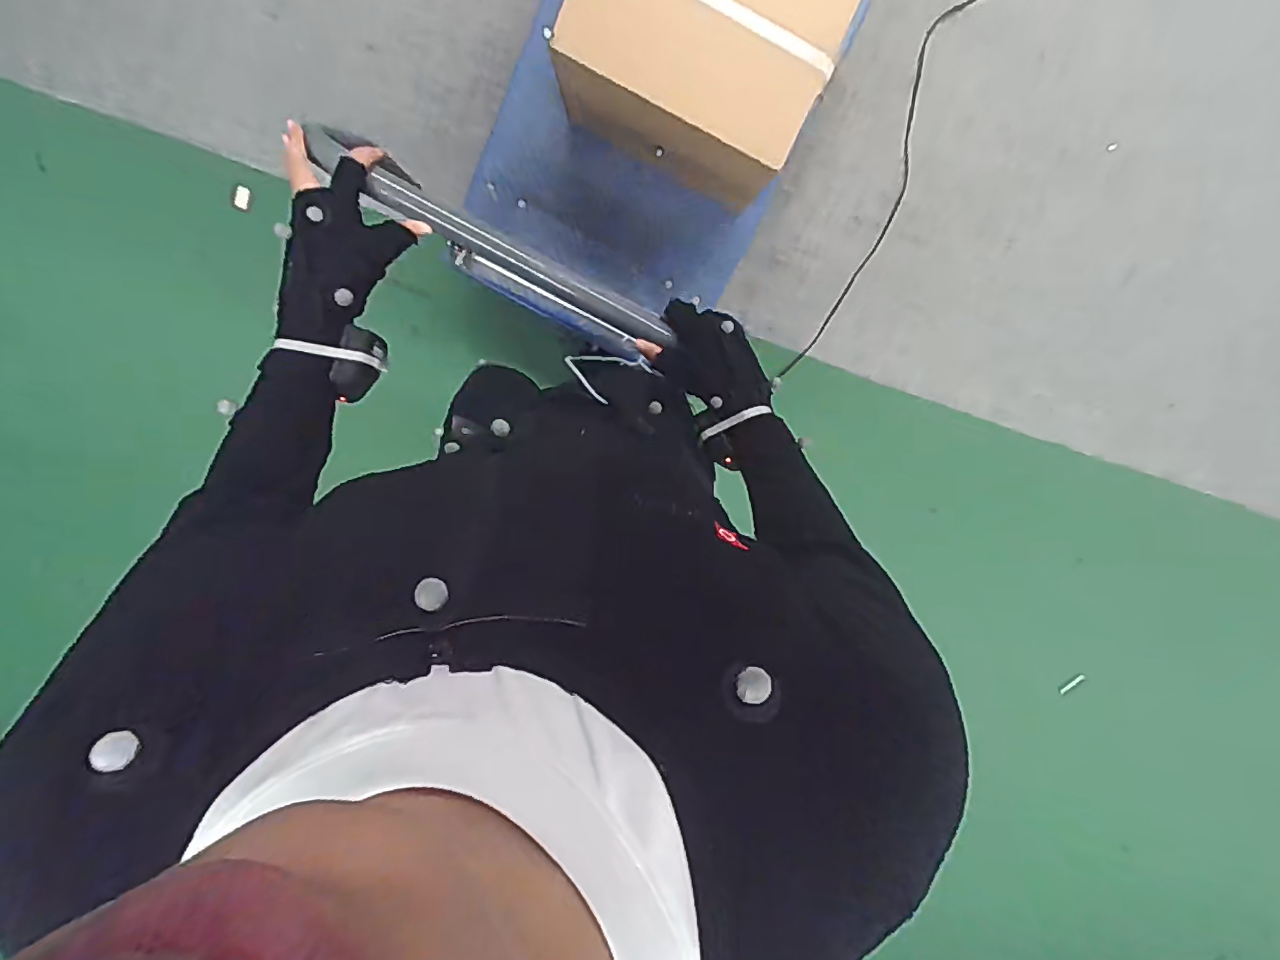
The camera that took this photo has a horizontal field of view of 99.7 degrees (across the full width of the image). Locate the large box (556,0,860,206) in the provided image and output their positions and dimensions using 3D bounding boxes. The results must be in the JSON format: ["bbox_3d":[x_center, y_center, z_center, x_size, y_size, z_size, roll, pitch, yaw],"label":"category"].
[{"bbox_3d":[0.111,-0.749,0.957,0.408,0.320,0.320,24,103,-7],"label":"large box"}]
